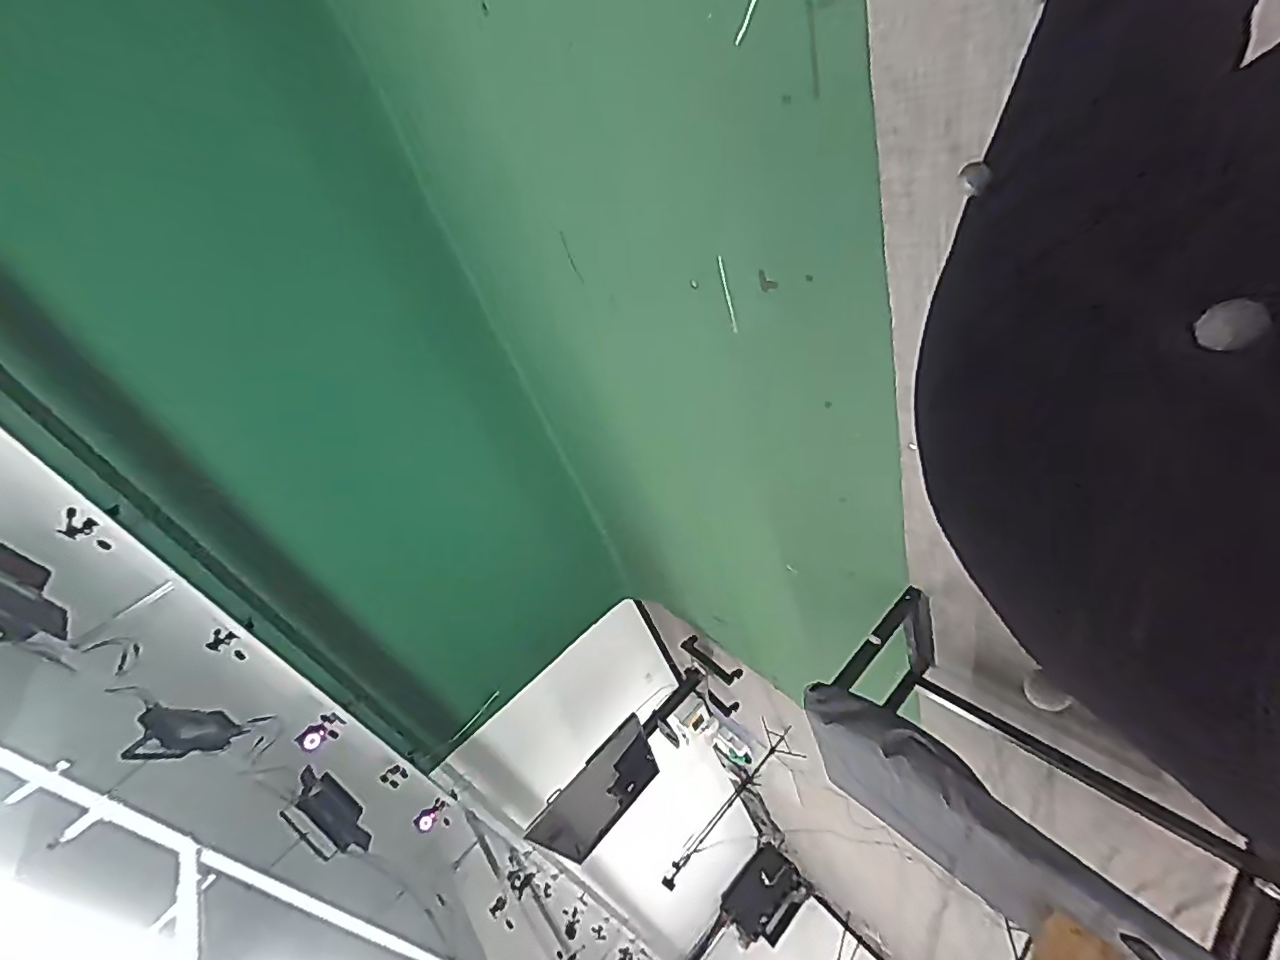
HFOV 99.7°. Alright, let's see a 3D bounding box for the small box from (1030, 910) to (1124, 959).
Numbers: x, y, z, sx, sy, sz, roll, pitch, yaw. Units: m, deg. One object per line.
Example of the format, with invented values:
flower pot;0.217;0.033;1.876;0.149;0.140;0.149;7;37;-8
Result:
small box;1.227;1.369;1.522;0.168;0.176;0.179;21;144;51
